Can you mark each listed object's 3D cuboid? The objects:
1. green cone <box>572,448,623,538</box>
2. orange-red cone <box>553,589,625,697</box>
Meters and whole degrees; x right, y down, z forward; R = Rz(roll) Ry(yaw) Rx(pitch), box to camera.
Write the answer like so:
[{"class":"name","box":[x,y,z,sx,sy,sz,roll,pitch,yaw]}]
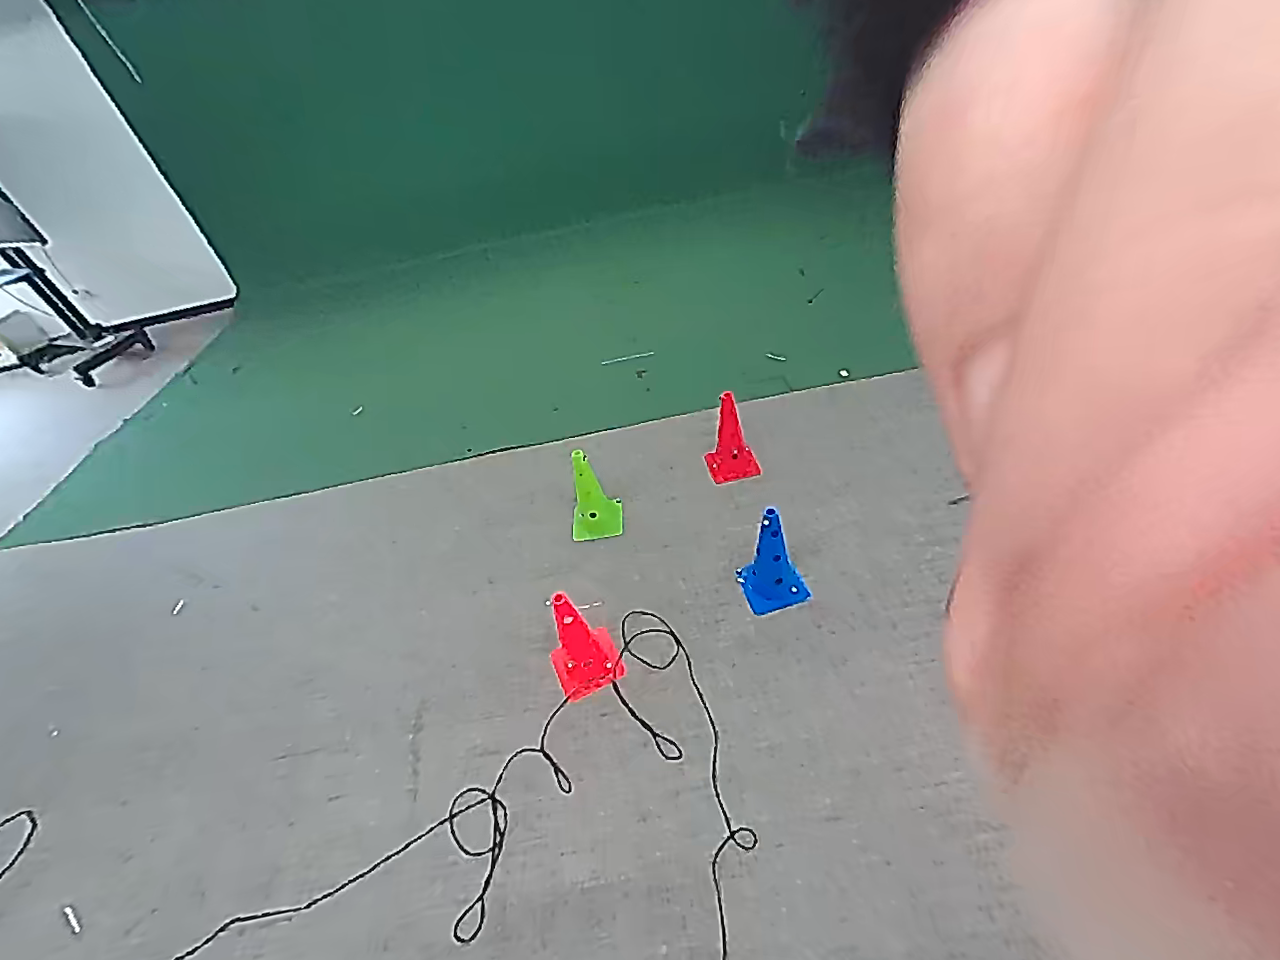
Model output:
[{"class":"green cone","box":[-0.201,0.025,2.060,0.200,0.368,0.202,-10,43,4]},{"class":"orange-red cone","box":[-0.193,0.444,1.601,0.198,0.360,0.199,-23,41,-13]}]
